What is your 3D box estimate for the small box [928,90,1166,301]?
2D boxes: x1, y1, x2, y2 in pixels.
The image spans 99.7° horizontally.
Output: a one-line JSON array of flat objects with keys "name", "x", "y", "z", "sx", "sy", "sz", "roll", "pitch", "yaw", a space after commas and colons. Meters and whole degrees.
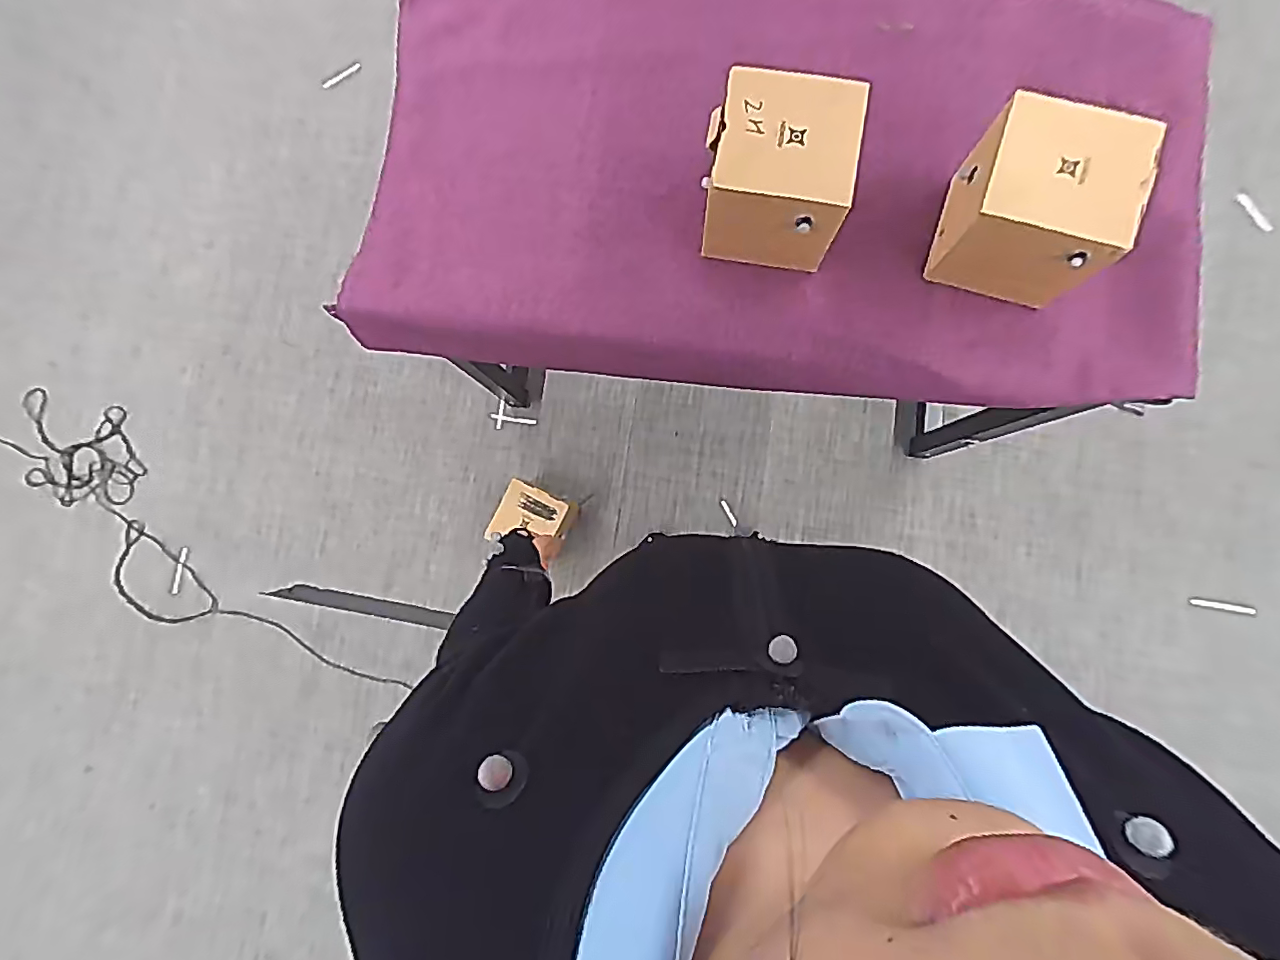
[{"name": "small box", "x": 0.517, "y": -0.360, "z": 0.715, "sx": 0.179, "sy": 0.176, "sz": 0.168, "roll": 17, "pitch": 86, "yaw": 6}]

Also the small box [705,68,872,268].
[{"name": "small box", "x": 0.192, "y": -0.414, "z": 0.744, "sx": 0.179, "sy": 0.176, "sz": 0.168, "roll": 10, "pitch": 84, "yaw": 5}]
